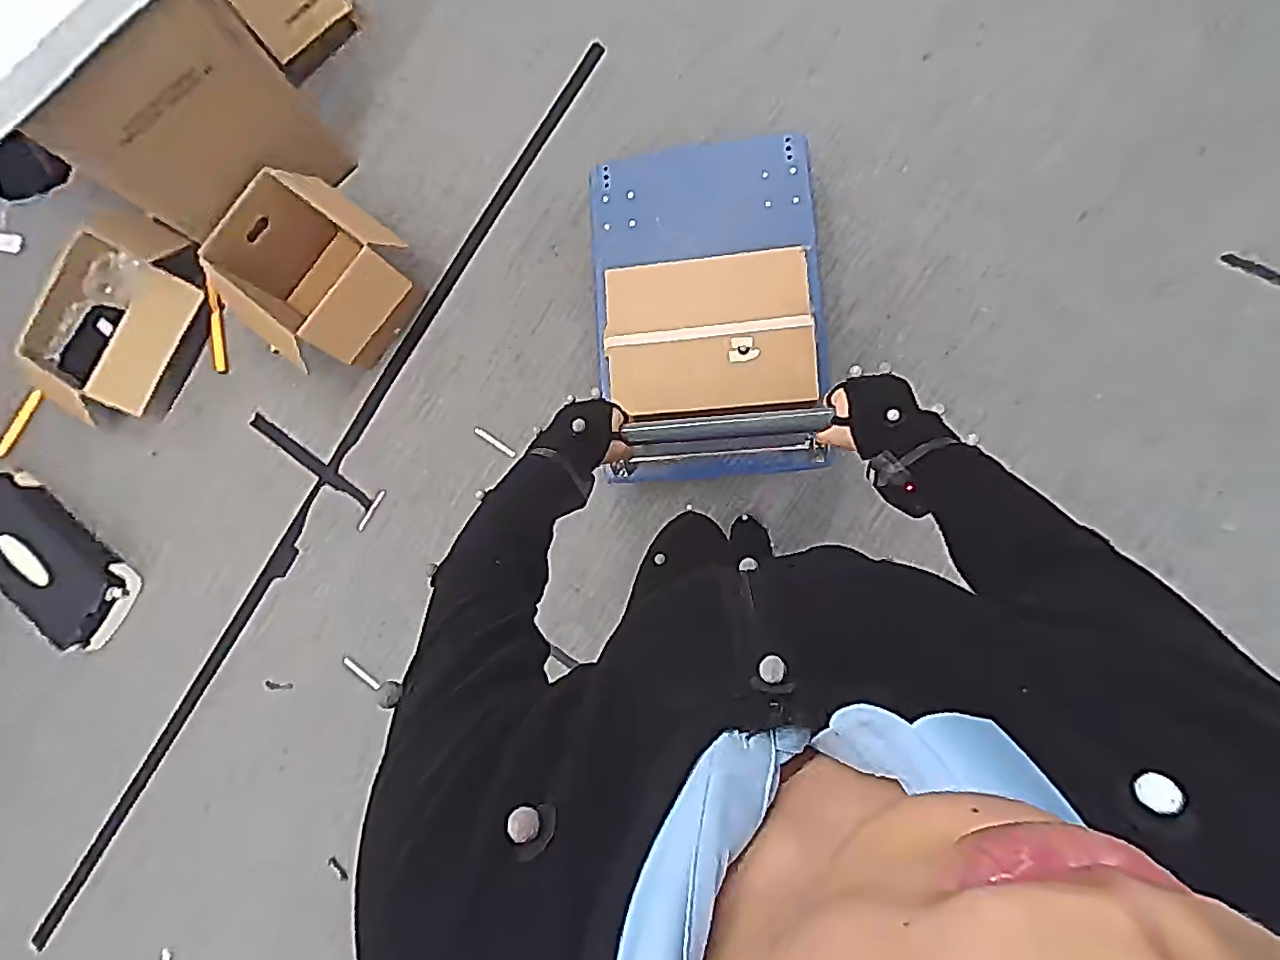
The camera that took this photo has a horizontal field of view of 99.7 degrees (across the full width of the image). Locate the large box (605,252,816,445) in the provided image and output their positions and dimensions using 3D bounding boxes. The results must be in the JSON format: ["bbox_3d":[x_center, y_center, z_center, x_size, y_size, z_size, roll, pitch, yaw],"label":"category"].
[{"bbox_3d":[0.150,-0.269,1.222,0.408,0.320,0.320,-4,85,7],"label":"large box"}]
